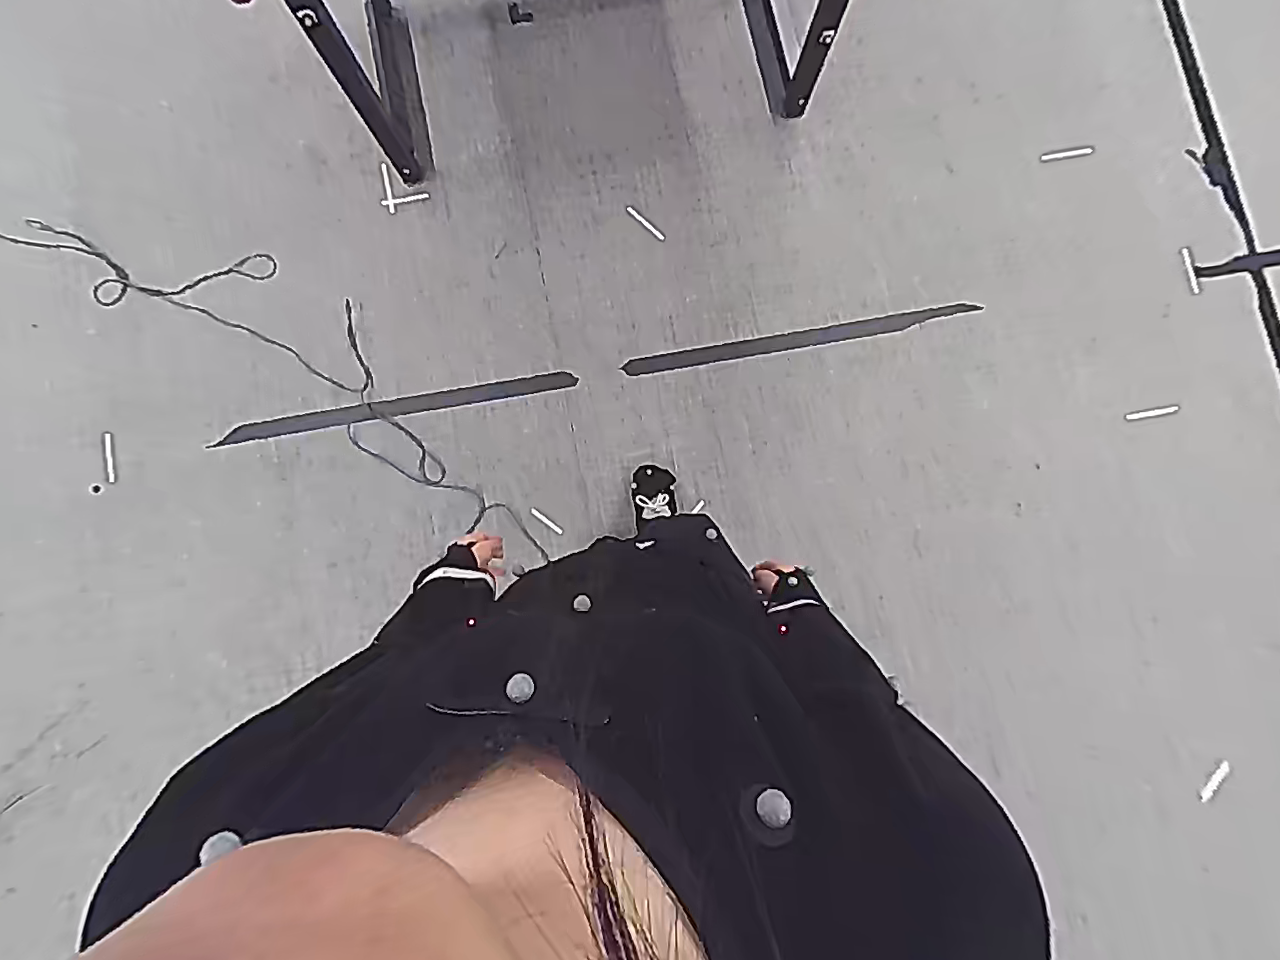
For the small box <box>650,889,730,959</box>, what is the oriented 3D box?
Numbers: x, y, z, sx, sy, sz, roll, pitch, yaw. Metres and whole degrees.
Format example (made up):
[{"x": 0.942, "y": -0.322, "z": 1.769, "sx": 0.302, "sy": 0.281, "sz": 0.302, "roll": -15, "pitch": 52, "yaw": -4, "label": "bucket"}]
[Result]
[{"x": 0.126, "y": 1.140, "z": 1.292, "sx": 0.168, "sy": 0.176, "sz": 0.179, "roll": -17, "pitch": 86, "yaw": -3, "label": "small box"}]
